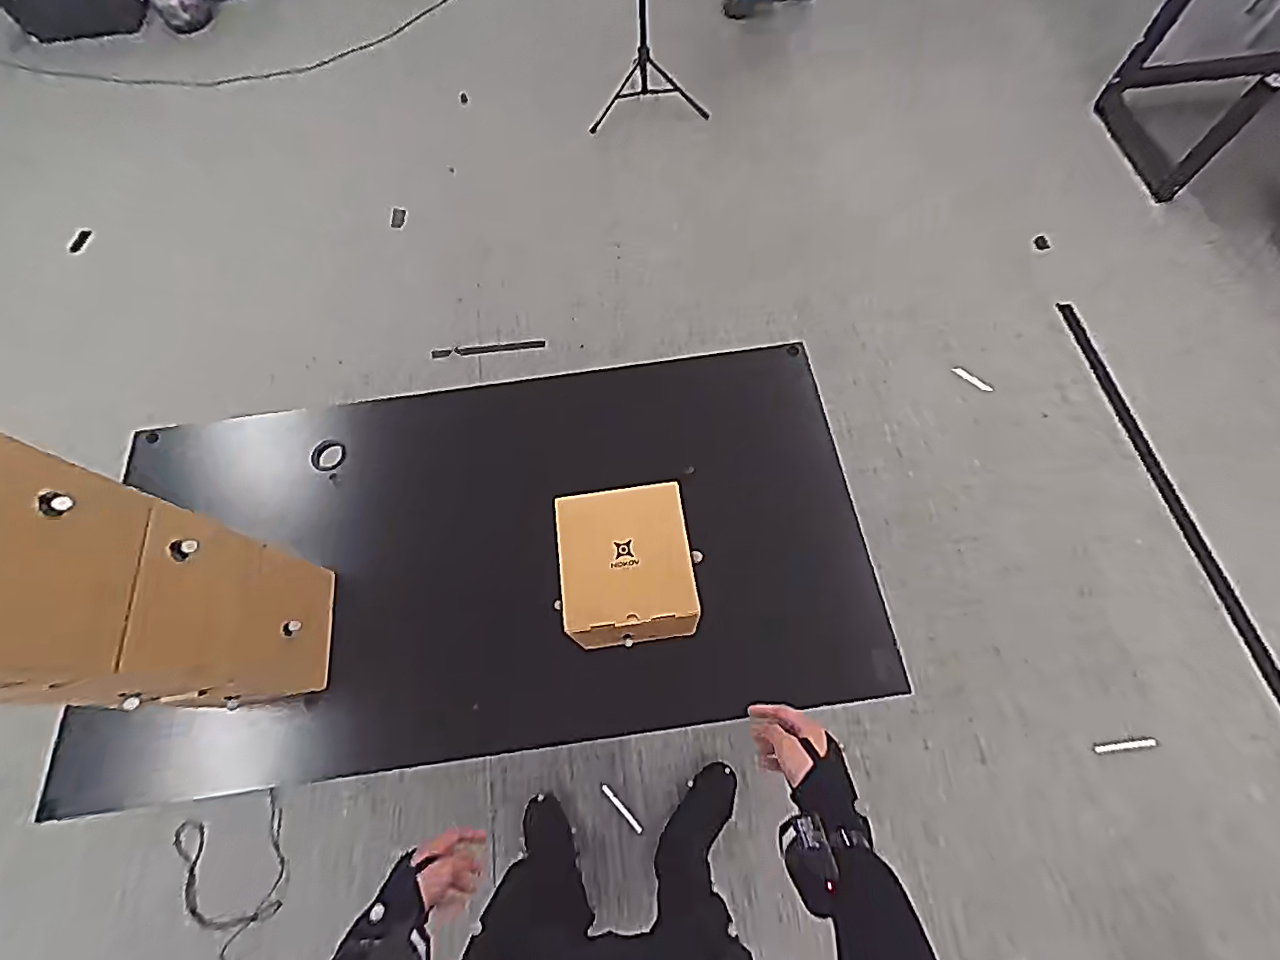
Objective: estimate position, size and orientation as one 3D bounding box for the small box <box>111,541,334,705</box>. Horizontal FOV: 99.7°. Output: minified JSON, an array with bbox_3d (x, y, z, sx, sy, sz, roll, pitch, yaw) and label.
[{"bbox_3d":[-0.543,0.198,0.733,0.168,0.176,0.179,-9,67,-2],"label":"small box"}]

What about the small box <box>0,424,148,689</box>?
[{"bbox_3d":[-0.555,0.069,0.432,0.168,0.176,0.179,-9,67,0],"label":"small box"}]

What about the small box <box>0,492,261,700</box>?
[{"bbox_3d":[-0.549,0.132,0.582,0.168,0.176,0.179,-9,67,-1],"label":"small box"}]

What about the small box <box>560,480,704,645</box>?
[{"bbox_3d":[-0.012,0.120,0.745,0.168,0.176,0.179,-8,67,-1],"label":"small box"}]
